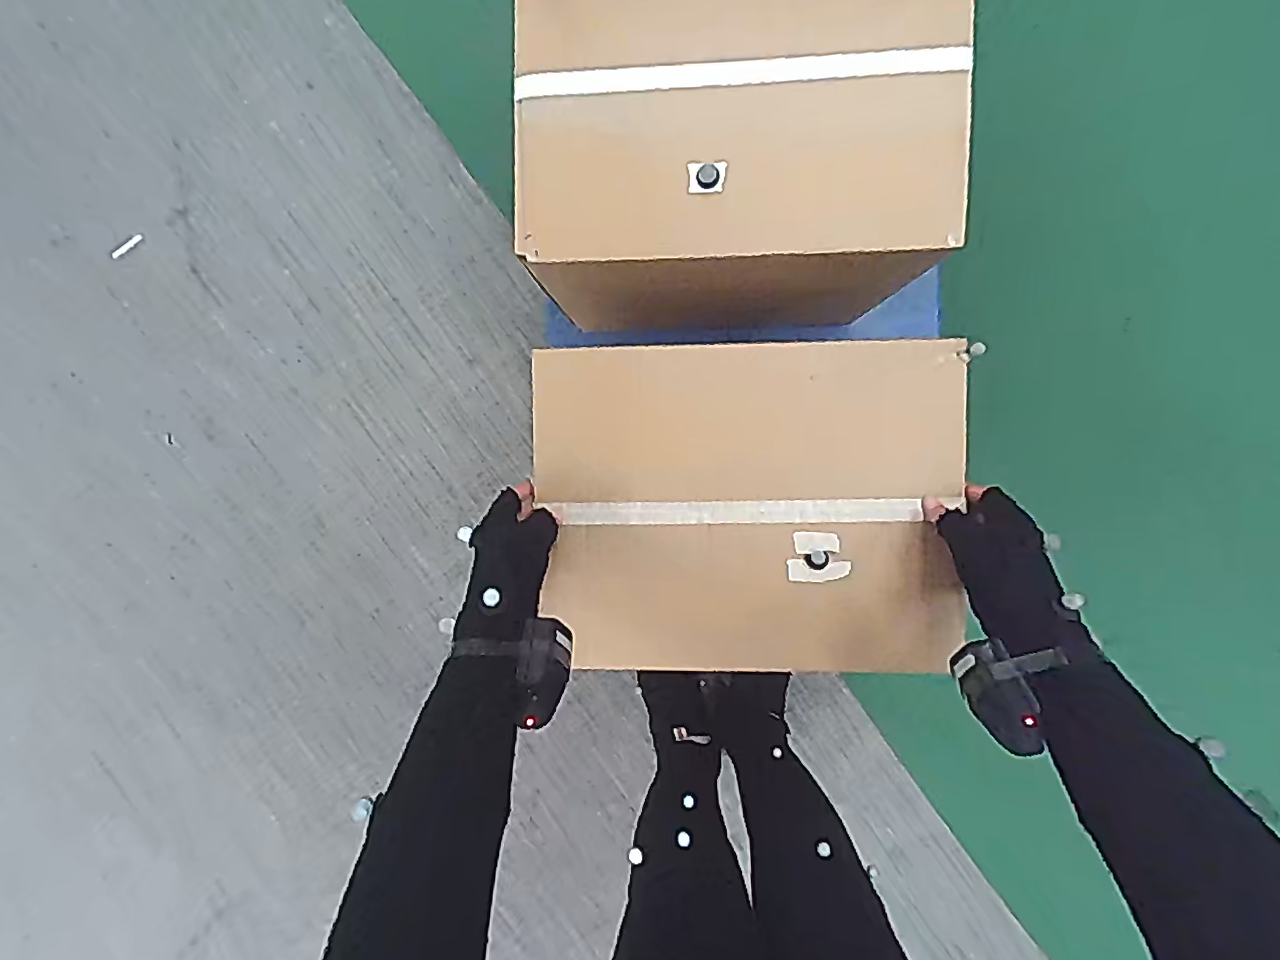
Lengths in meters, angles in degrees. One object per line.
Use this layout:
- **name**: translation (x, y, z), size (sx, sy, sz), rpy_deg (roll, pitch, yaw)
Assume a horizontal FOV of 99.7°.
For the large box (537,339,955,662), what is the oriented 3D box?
- **large box**: translation (0.105, 0.020, 0.671), size (0.408, 0.320, 0.320), rpy_deg (0, 92, 3)
